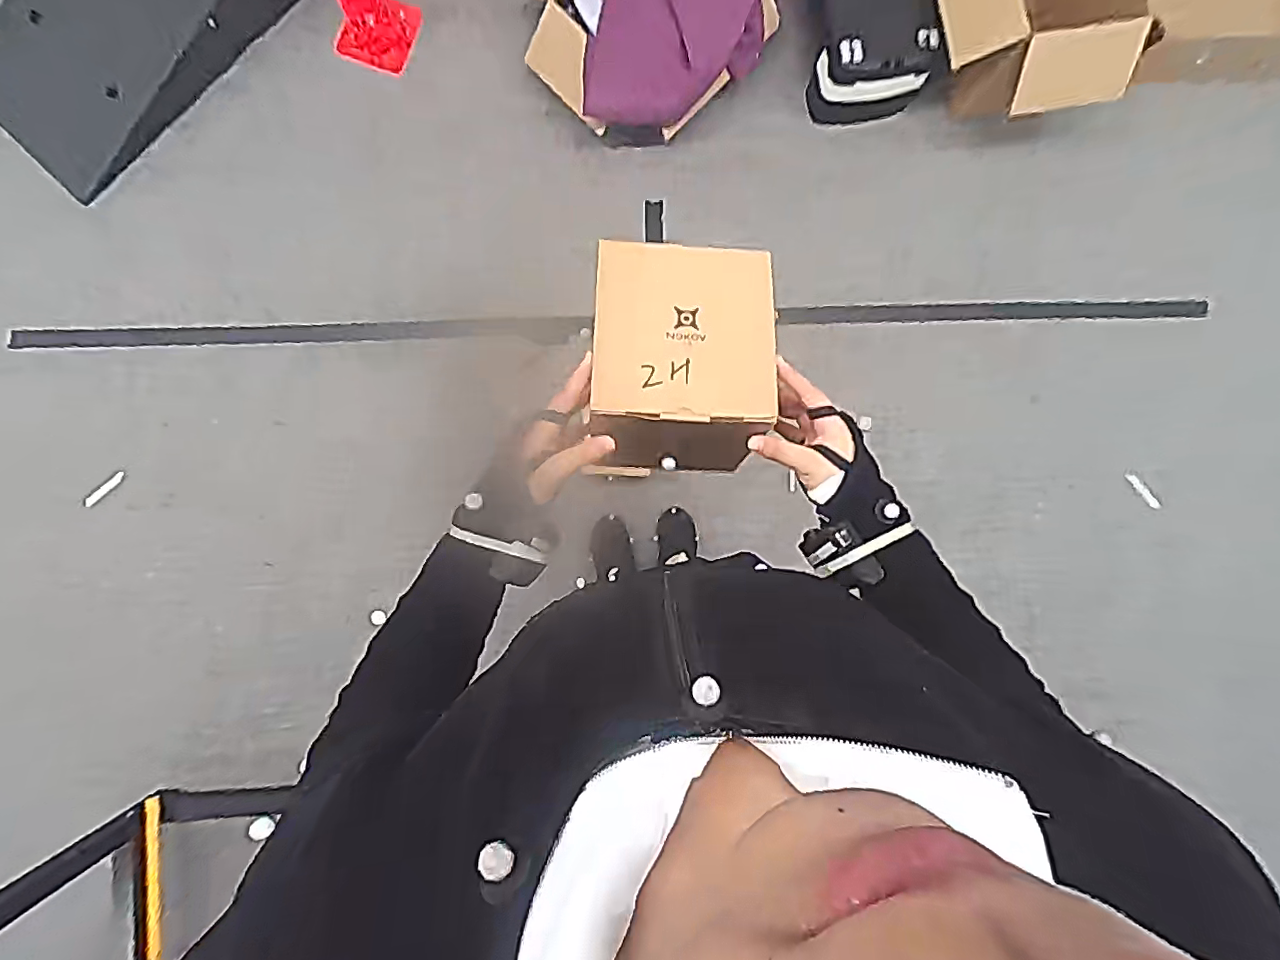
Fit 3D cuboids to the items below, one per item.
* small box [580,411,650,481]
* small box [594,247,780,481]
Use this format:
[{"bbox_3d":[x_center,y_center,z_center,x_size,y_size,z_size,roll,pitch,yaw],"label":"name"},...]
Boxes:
[{"bbox_3d":[-0.060,-0.084,1.426,0.179,0.176,0.168,2,89,-2],"label":"small box"},{"bbox_3d":[0.040,-0.110,0.566,0.168,0.176,0.179,3,74,-2],"label":"small box"}]
